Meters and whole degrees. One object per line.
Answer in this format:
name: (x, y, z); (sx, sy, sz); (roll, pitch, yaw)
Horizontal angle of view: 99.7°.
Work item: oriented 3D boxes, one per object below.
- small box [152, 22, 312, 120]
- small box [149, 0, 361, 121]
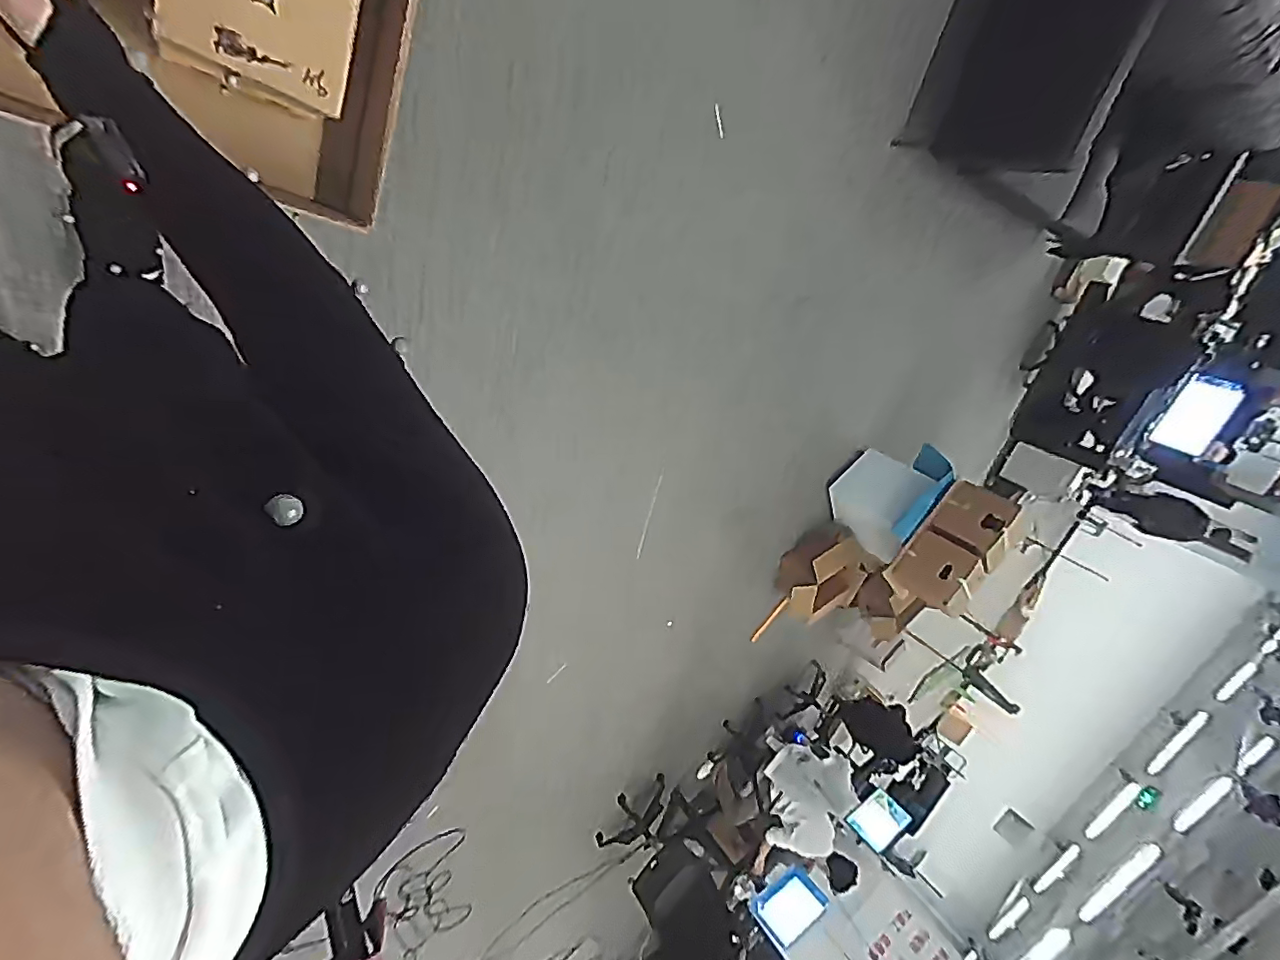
small box: (-0.529, -0.615, 0.714); (0.168, 0.176, 0.179); (2, 119, -43)
small box: (-0.430, -0.542, 0.605); (0.168, 0.176, 0.179); (5, 116, -44)
